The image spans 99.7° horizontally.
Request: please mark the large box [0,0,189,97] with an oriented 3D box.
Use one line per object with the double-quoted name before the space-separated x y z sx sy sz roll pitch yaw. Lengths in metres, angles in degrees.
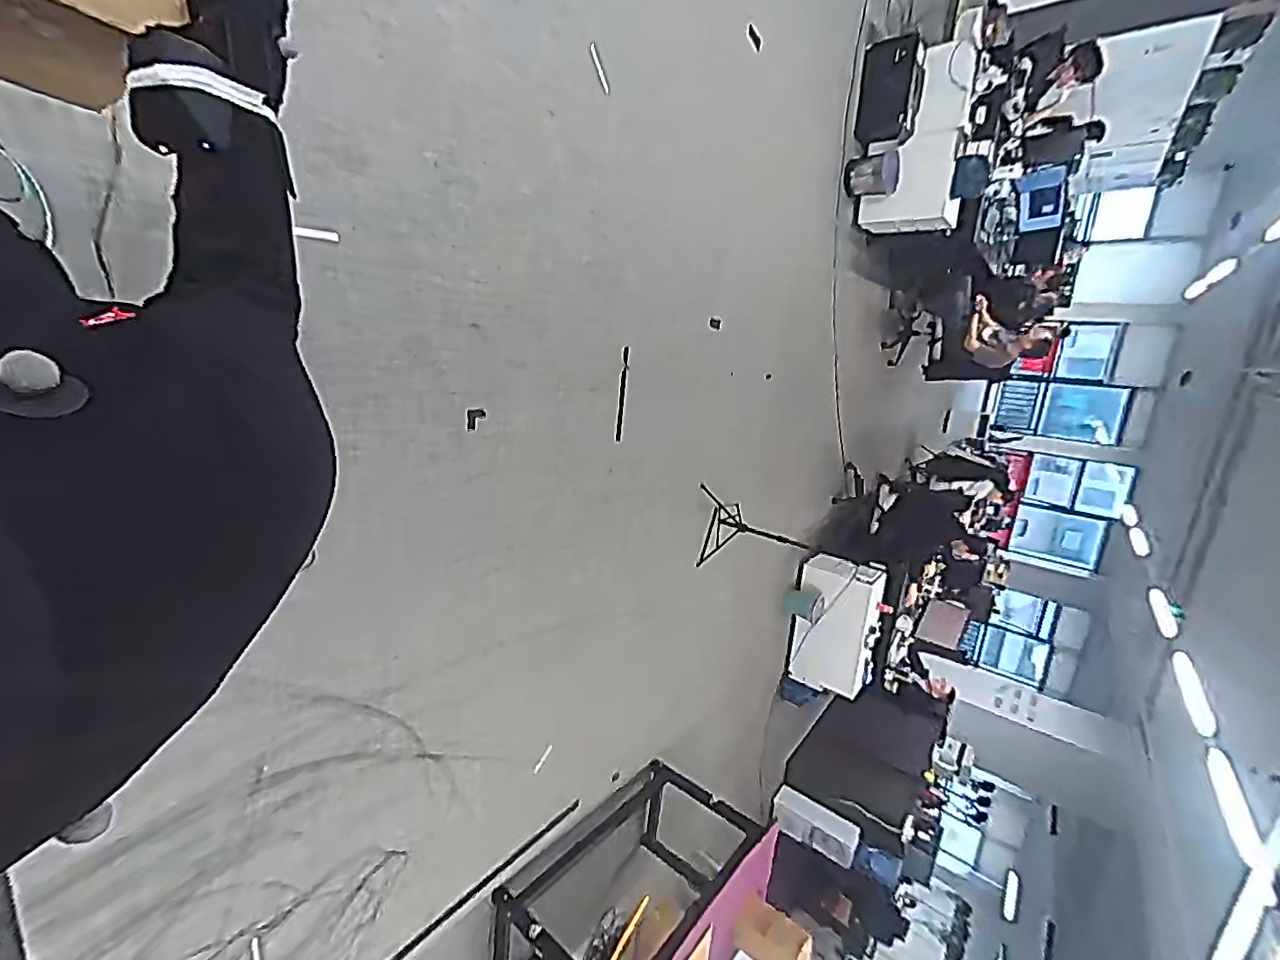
"large box" -0.541 -0.484 0.286 0.408 0.320 0.320 -6 111 -54
